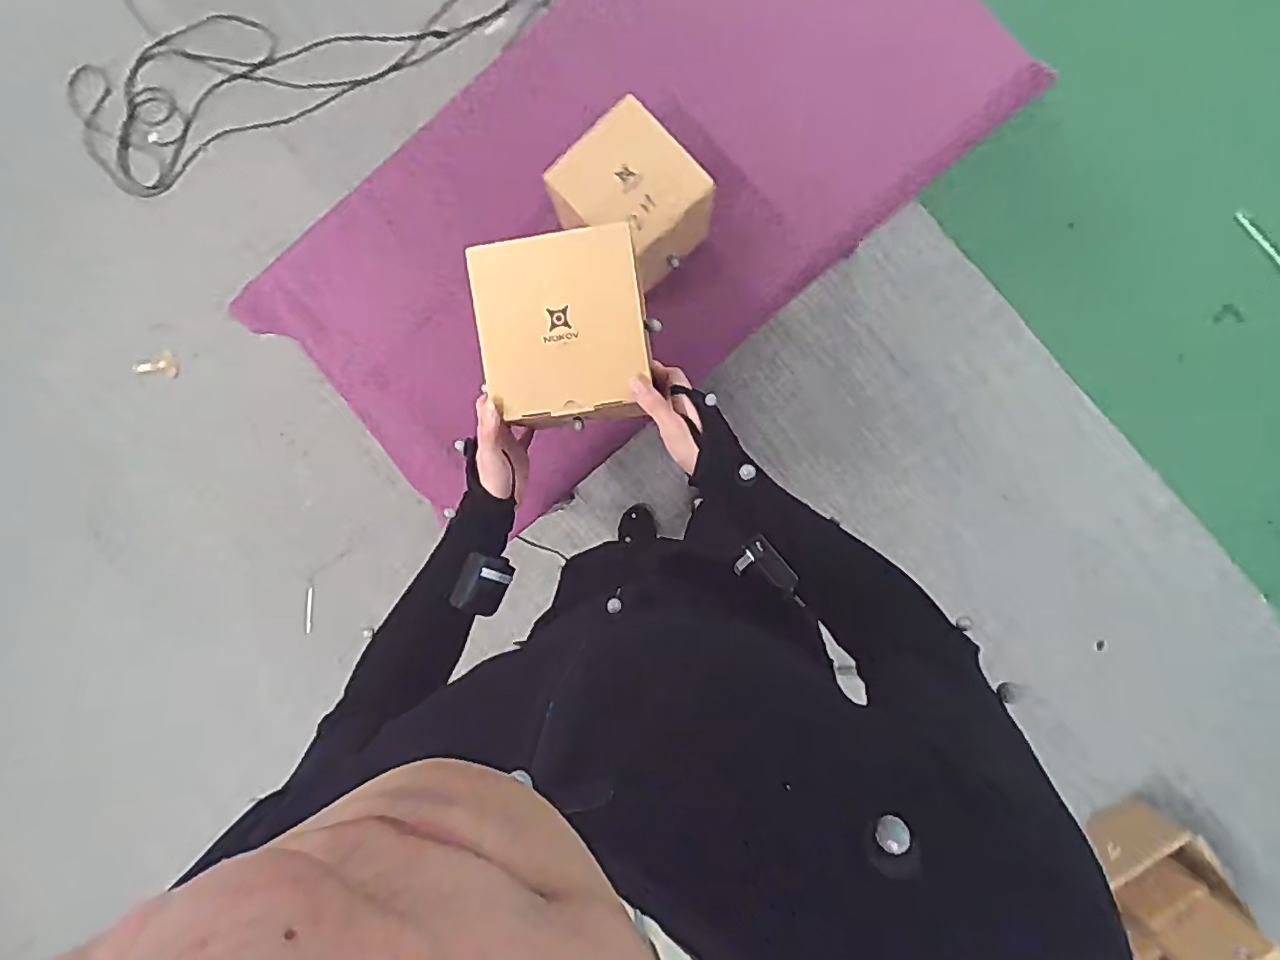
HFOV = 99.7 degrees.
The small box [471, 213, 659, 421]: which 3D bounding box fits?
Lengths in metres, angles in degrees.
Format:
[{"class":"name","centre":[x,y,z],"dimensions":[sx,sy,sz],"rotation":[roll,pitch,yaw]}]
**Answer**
[{"class":"small box","centre":[-0.070,-0.164,0.601],"dimensions":[0.168,0.176,0.179],"rotation":[-7,94,4]}]

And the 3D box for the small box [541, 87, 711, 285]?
[{"class":"small box","centre":[-0.017,-0.416,0.809],"dimensions":[0.168,0.176,0.179],"rotation":[-43,89,3]}]

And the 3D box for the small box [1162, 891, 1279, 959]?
[{"class":"small box","centre":[1.411,1.133,1.268],"dimensions":[0.168,0.176,0.179],"rotation":[-39,91,1]}]
